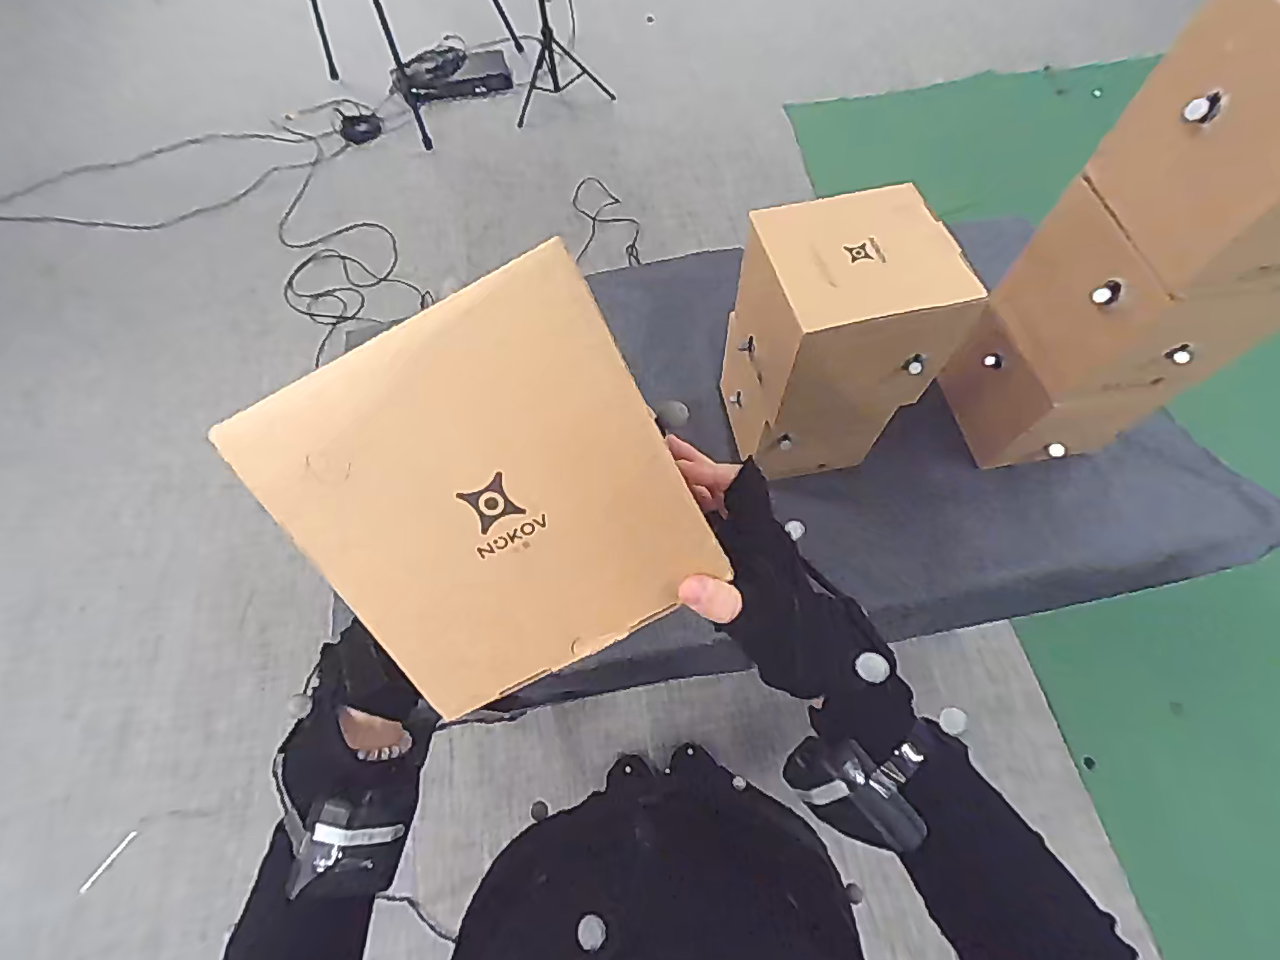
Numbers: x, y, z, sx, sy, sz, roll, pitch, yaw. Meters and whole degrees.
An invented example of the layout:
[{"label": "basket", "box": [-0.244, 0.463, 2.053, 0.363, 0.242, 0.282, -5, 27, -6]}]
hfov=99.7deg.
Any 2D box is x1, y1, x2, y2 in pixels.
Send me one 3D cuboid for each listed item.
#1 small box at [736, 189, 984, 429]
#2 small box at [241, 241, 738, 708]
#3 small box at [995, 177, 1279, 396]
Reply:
[{"label": "small box", "box": [0.216, -0.177, 0.590, 0.179, 0.176, 0.168, -12, 63, -3]}, {"label": "small box", "box": [-0.069, -0.014, 0.324, 0.168, 0.176, 0.179, -27, 110, 2]}, {"label": "small box", "box": [0.536, -0.206, 0.586, 0.168, 0.176, 0.179, -7, 64, -1]}]
